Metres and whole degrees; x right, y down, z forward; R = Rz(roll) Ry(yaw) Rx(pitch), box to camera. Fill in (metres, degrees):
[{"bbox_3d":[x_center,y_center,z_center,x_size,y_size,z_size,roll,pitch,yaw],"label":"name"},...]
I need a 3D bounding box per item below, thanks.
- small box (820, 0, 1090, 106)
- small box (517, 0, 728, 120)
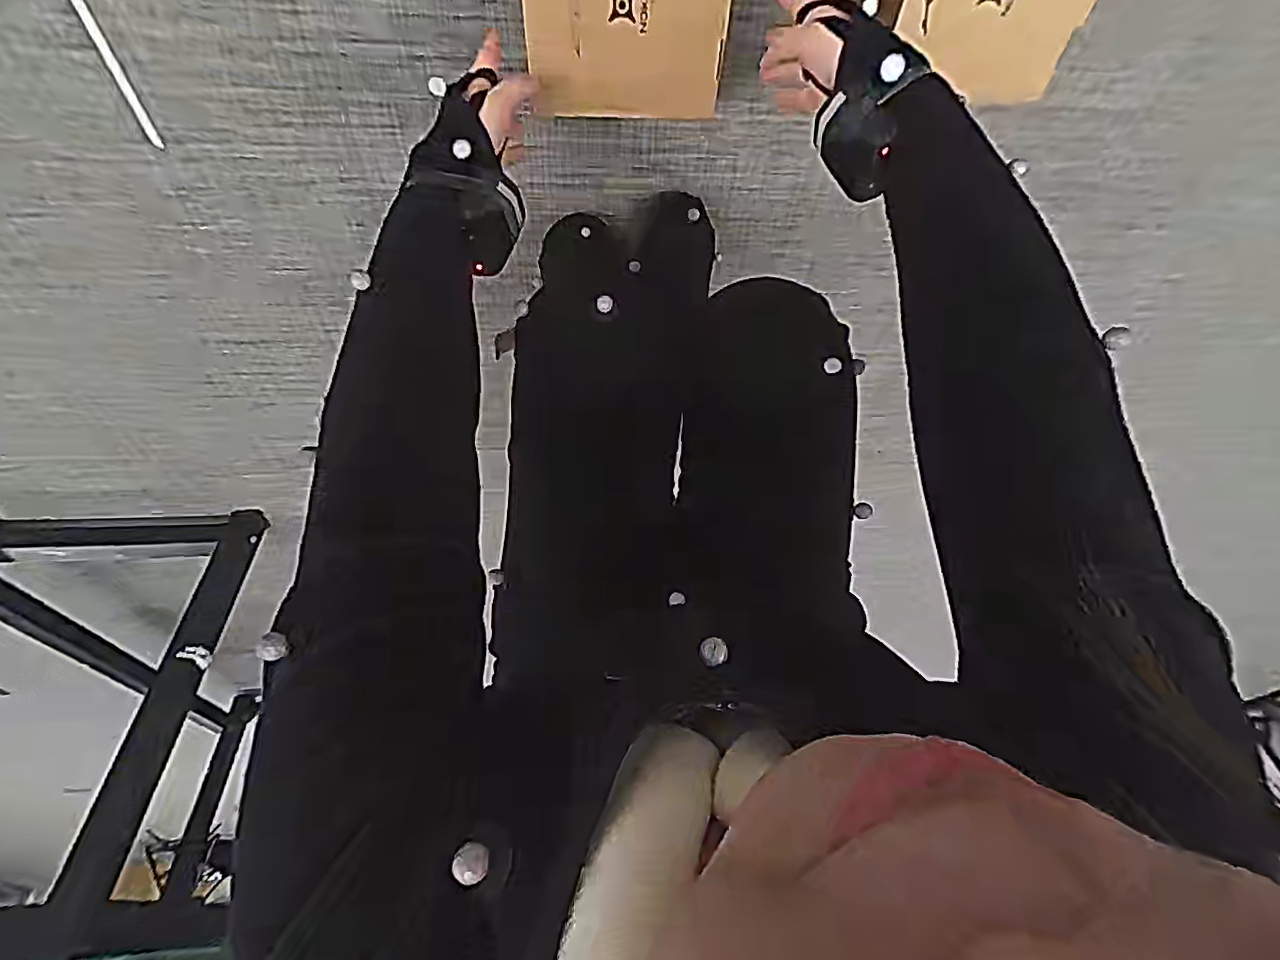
[{"bbox_3d":[0.298,-0.477,0.509,0.179,0.176,0.168,-3,141,-6],"label":"small box"},{"bbox_3d":[-0.021,-0.453,0.491,0.179,0.176,0.168,-2,141,-6],"label":"small box"}]
